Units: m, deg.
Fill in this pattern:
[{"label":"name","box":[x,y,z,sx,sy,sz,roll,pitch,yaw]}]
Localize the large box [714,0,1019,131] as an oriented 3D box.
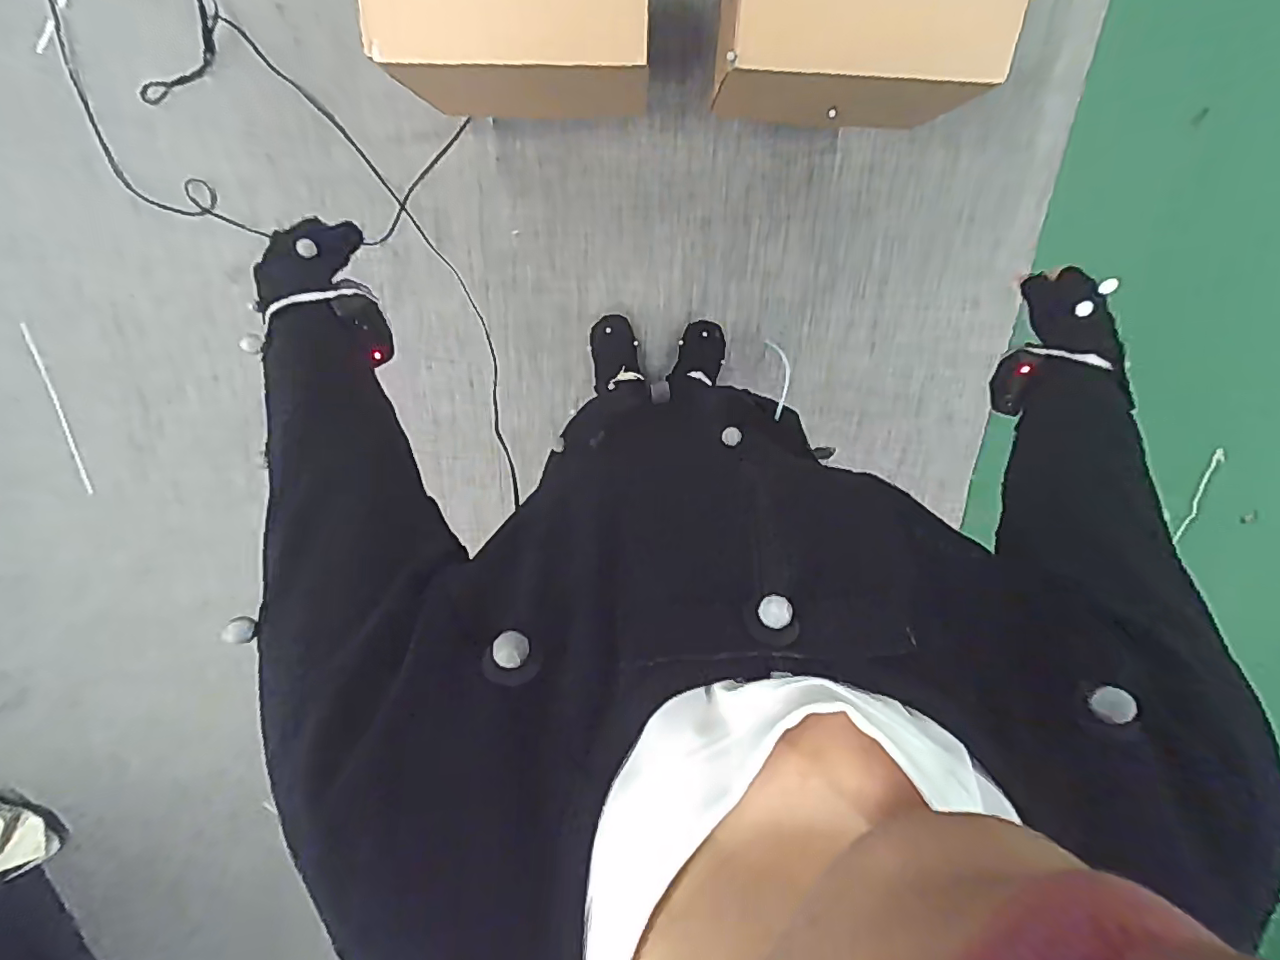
[{"label":"large box","box":[0.350,-0.789,0.891,0.408,0.320,0.320,3,112,0]}]
